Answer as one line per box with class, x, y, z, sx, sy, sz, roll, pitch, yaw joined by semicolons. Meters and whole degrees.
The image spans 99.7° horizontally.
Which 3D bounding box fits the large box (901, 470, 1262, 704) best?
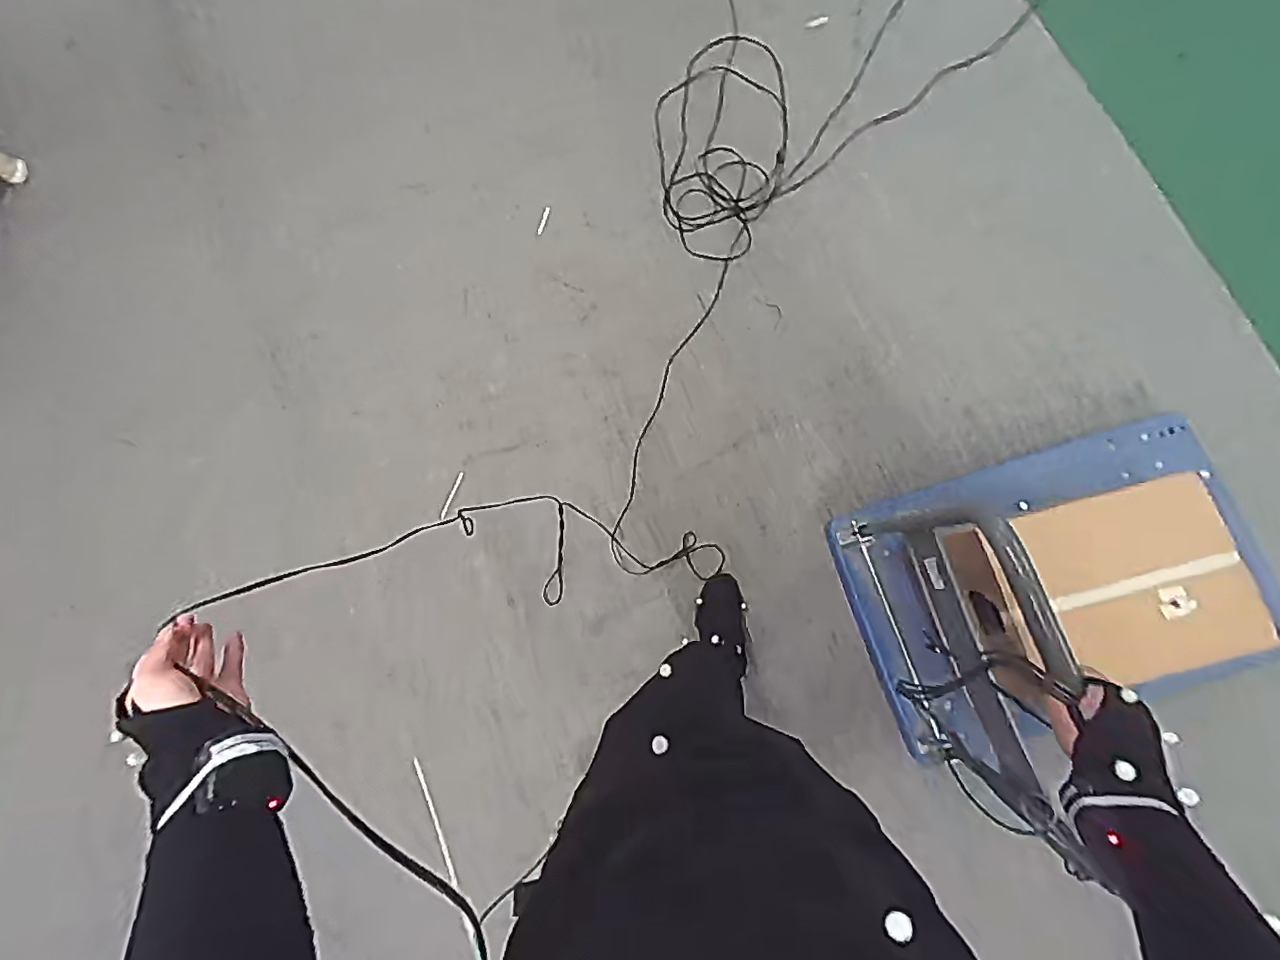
large box;0.825;0.209;1.084;0.408;0.320;0.320;-16;79;0
